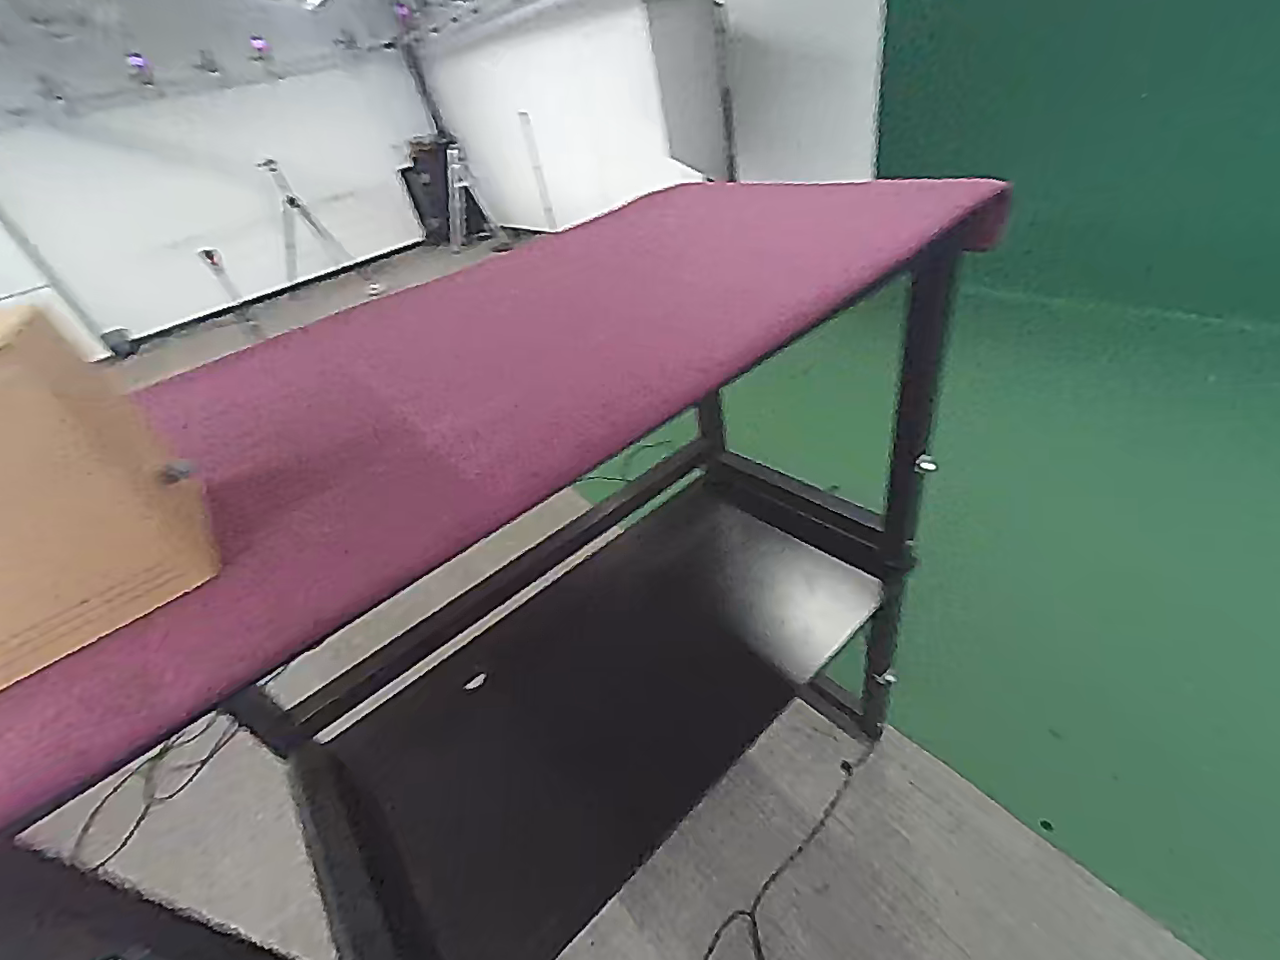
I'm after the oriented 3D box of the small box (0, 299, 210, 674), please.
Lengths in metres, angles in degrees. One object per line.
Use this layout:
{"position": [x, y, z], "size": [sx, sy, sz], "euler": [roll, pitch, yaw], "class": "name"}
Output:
{"position": [-0.411, 0.012, 0.326], "size": [0.179, 0.176, 0.168], "euler": [-33, 41, -25], "class": "small box"}
